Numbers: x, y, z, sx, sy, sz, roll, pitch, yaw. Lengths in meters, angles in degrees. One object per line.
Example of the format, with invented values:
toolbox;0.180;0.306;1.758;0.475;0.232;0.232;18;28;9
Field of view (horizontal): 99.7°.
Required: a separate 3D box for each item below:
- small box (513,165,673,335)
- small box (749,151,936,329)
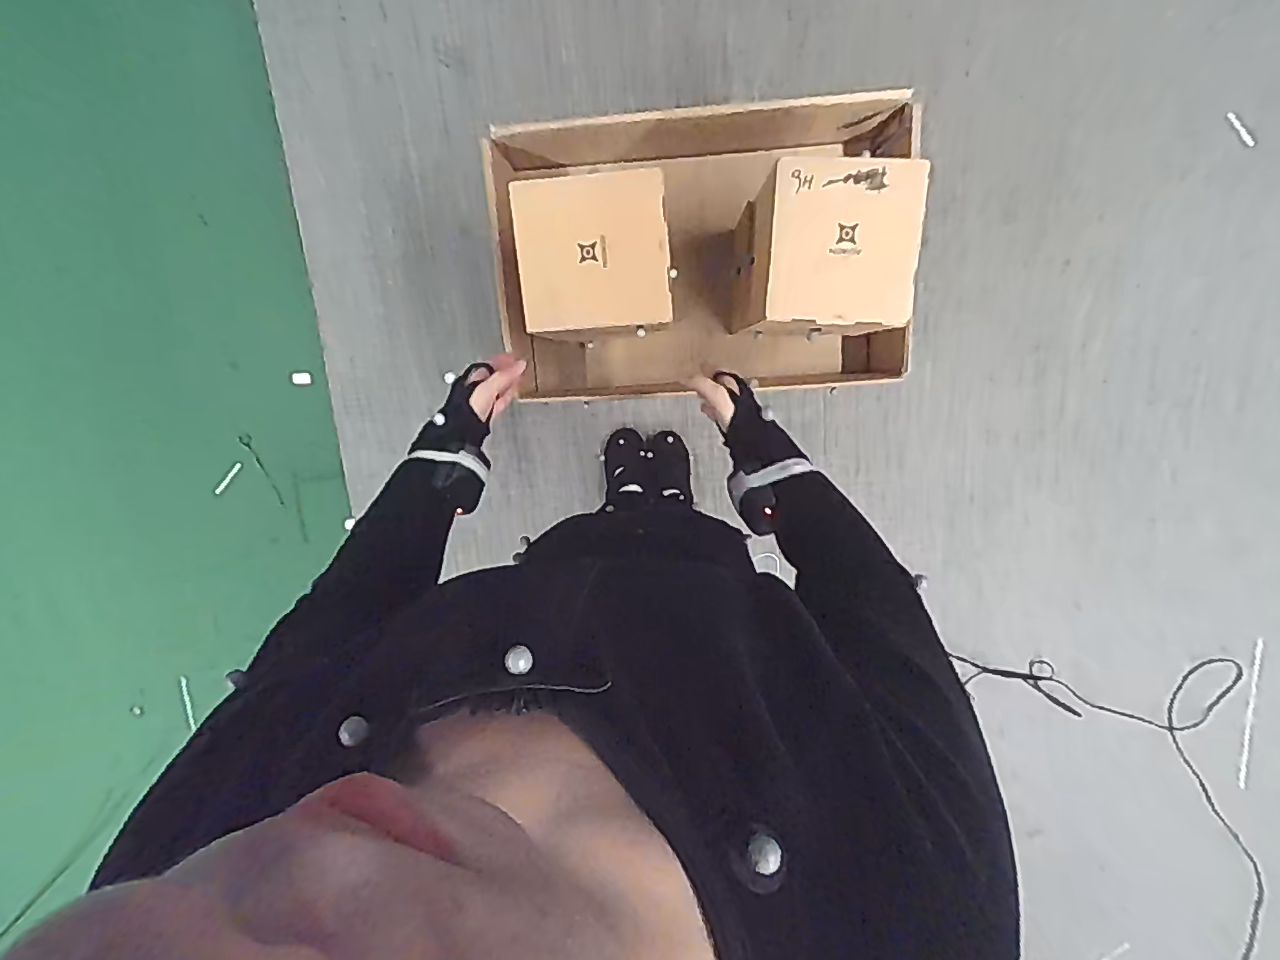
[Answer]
small box;-0.048;-0.280;0.693;0.179;0.176;0.168;-4;103;3
small box;0.234;-0.283;0.674;0.168;0.176;0.179;4;104;3
